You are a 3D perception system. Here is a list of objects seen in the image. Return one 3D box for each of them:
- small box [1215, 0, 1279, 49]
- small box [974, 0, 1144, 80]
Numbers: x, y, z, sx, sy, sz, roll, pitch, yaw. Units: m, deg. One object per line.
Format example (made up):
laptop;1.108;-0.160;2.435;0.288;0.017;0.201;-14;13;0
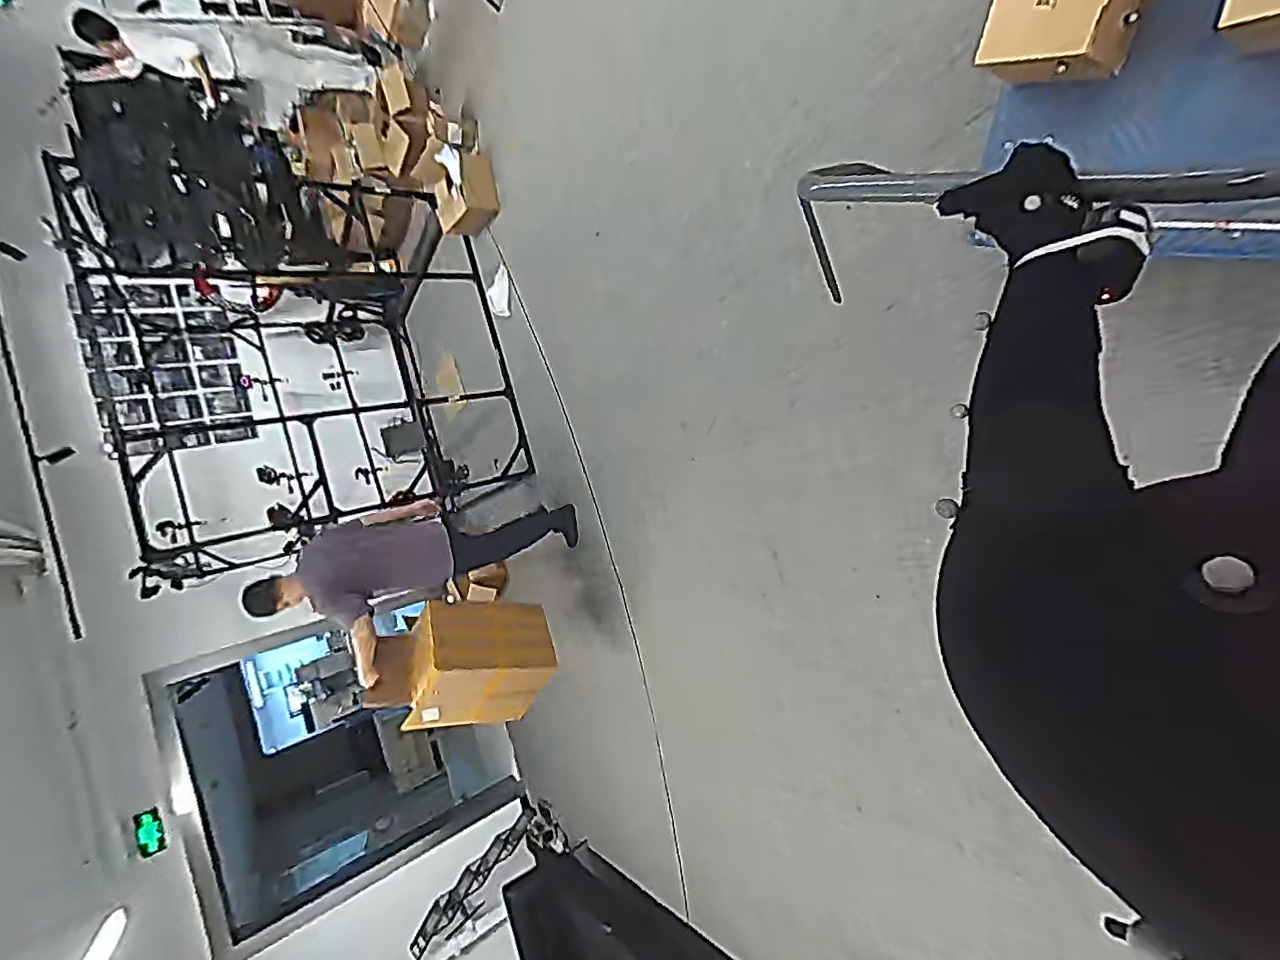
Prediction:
small box;0.900;-0.686;0.688;0.179;0.176;0.168;27;123;48
small box;0.713;-0.795;0.910;0.179;0.176;0.168;34;127;42
